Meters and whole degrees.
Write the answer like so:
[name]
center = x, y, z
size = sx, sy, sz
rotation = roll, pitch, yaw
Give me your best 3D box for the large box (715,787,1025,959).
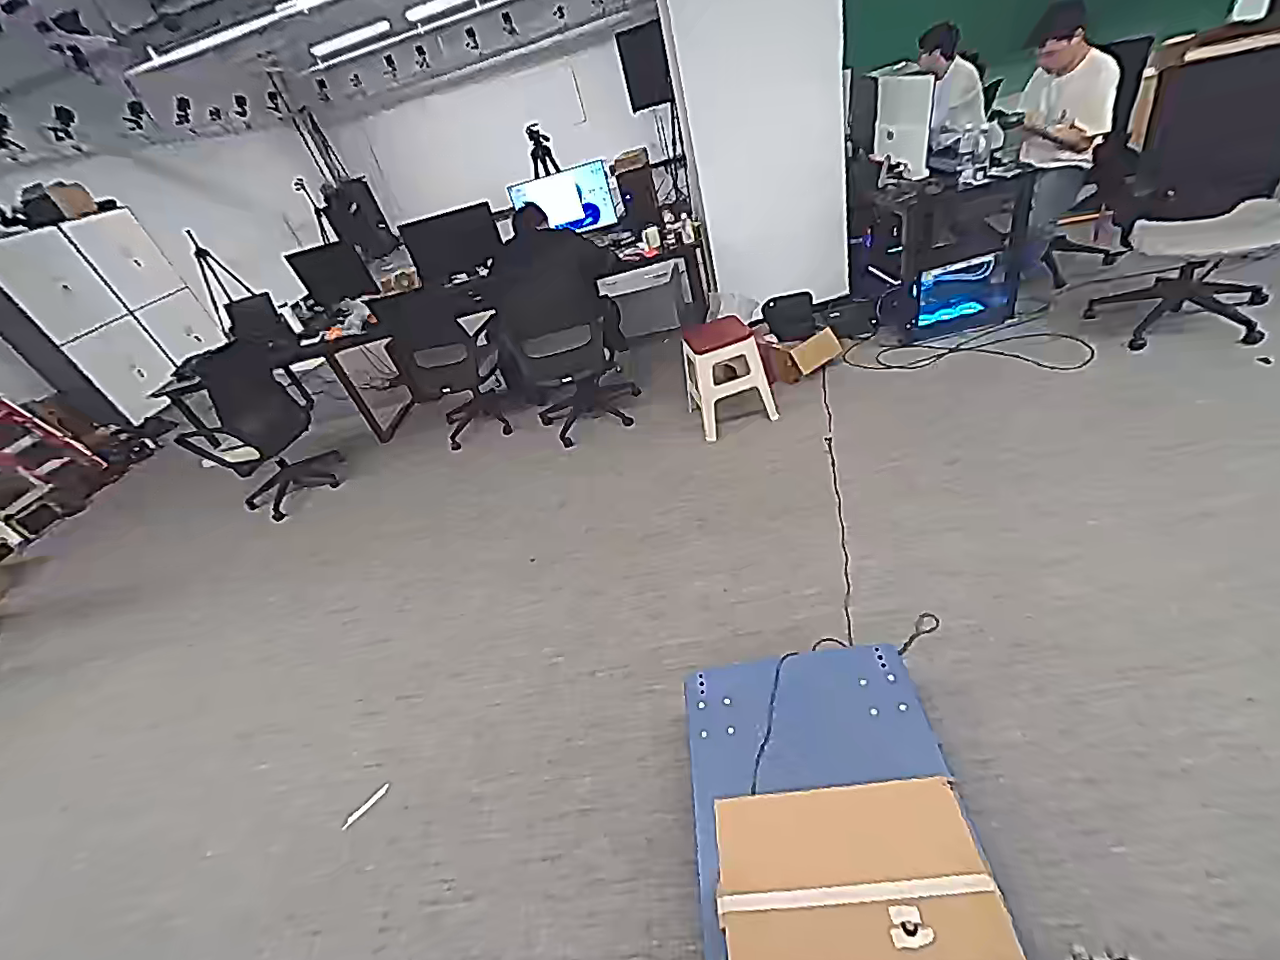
[large box]
center = 0.359, 0.758, 0.892
size = 0.408, 0.320, 0.320
rotation = -11, 36, 9
